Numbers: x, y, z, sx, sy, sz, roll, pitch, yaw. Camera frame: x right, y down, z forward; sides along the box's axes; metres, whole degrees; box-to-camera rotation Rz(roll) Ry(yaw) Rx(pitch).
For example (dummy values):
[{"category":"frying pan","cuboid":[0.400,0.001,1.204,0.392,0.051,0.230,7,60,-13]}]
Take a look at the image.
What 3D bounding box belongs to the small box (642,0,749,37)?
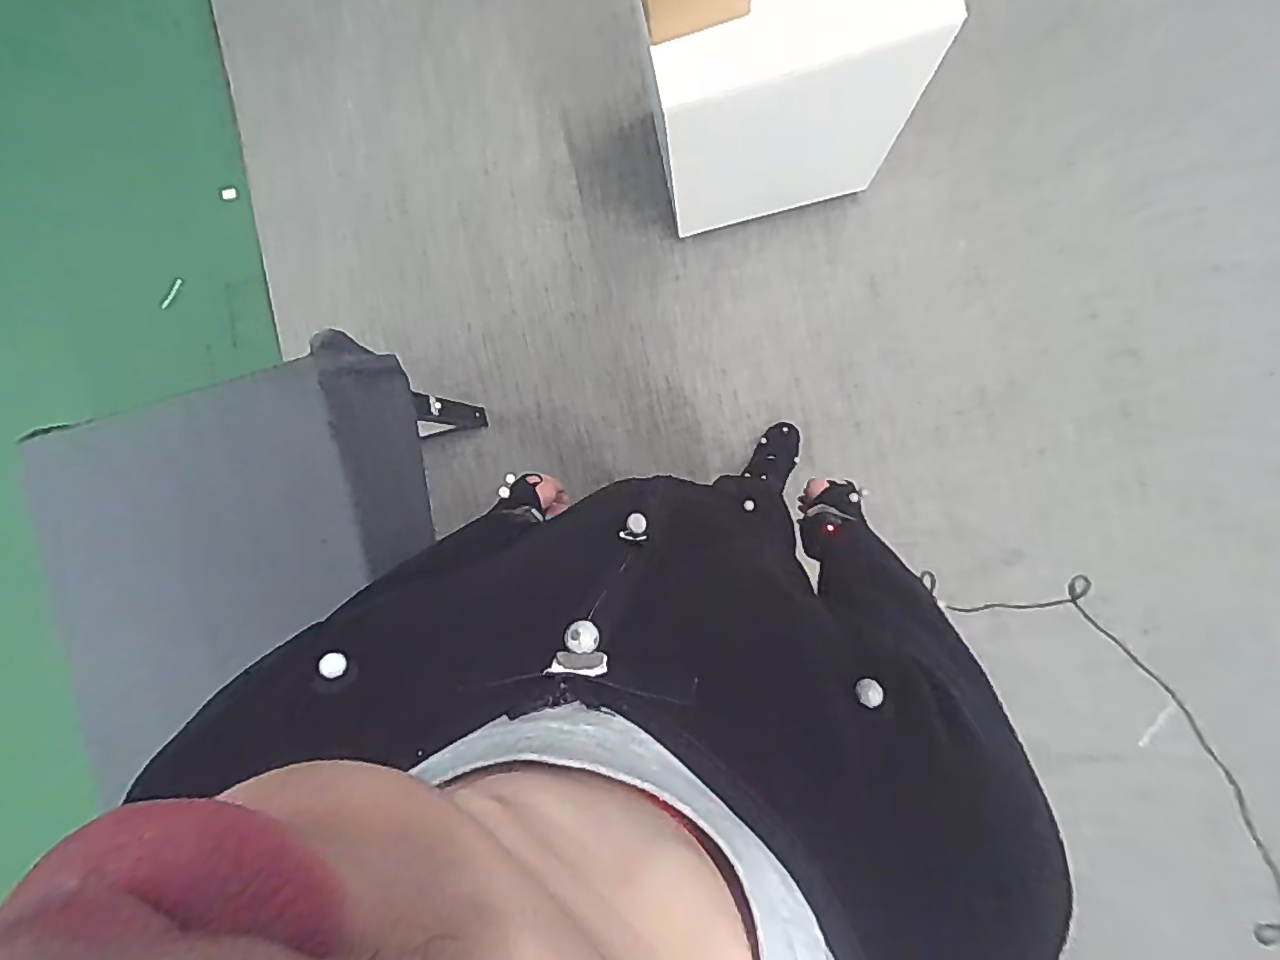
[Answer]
[{"category":"small box","cuboid":[0.075,-0.845,0.838,0.179,0.176,0.168,-13,90,6]}]
